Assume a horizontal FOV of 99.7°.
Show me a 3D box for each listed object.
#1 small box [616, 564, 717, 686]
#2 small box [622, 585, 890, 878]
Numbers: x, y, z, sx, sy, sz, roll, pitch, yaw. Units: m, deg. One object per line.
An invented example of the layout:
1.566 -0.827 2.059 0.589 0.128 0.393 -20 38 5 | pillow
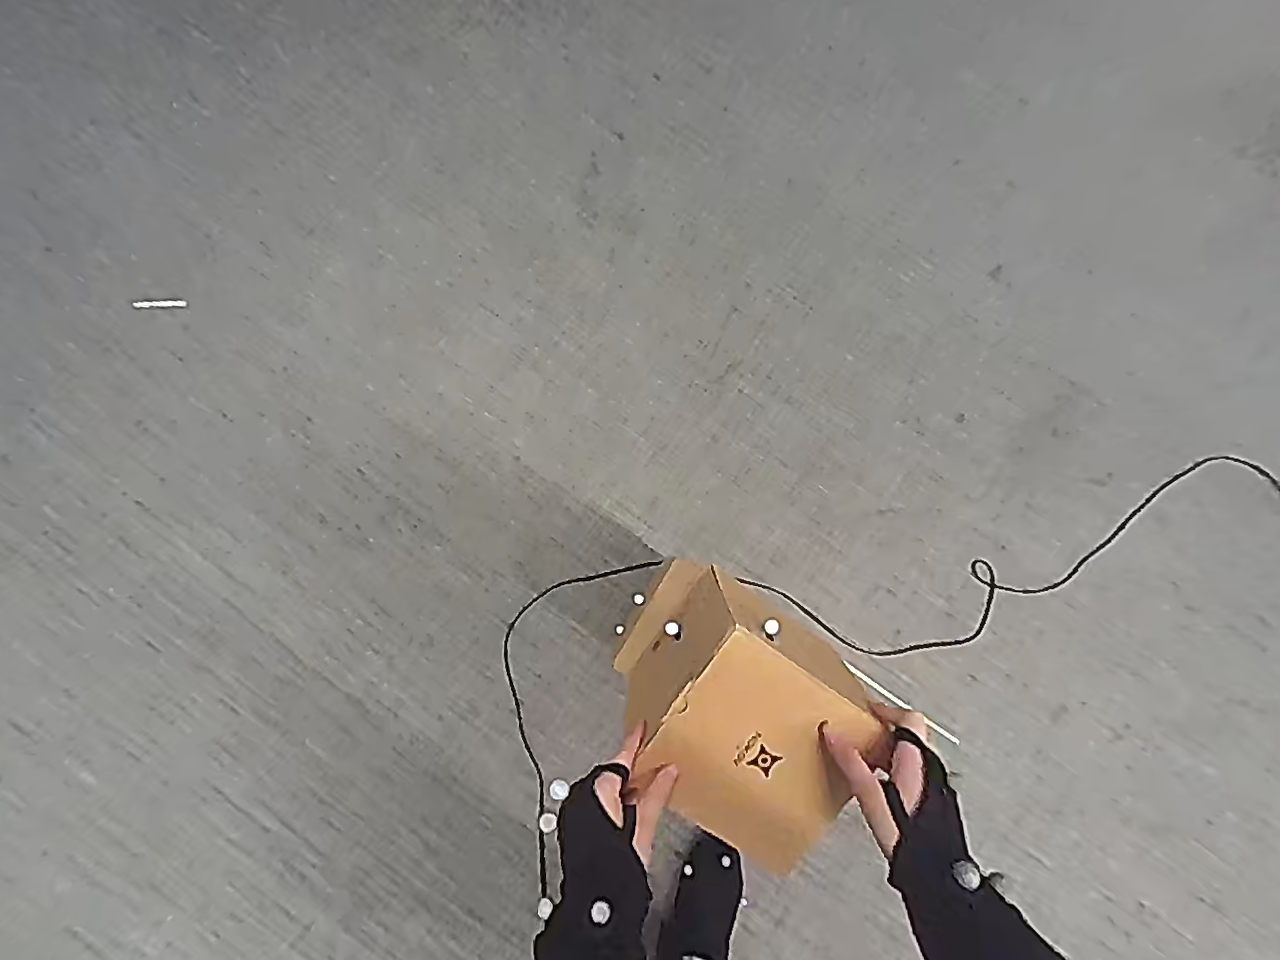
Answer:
0.077 0.246 0.812 0.168 0.176 0.179 31 78 3 | small box
0.102 0.231 0.545 0.179 0.176 0.168 33 97 -2 | small box
